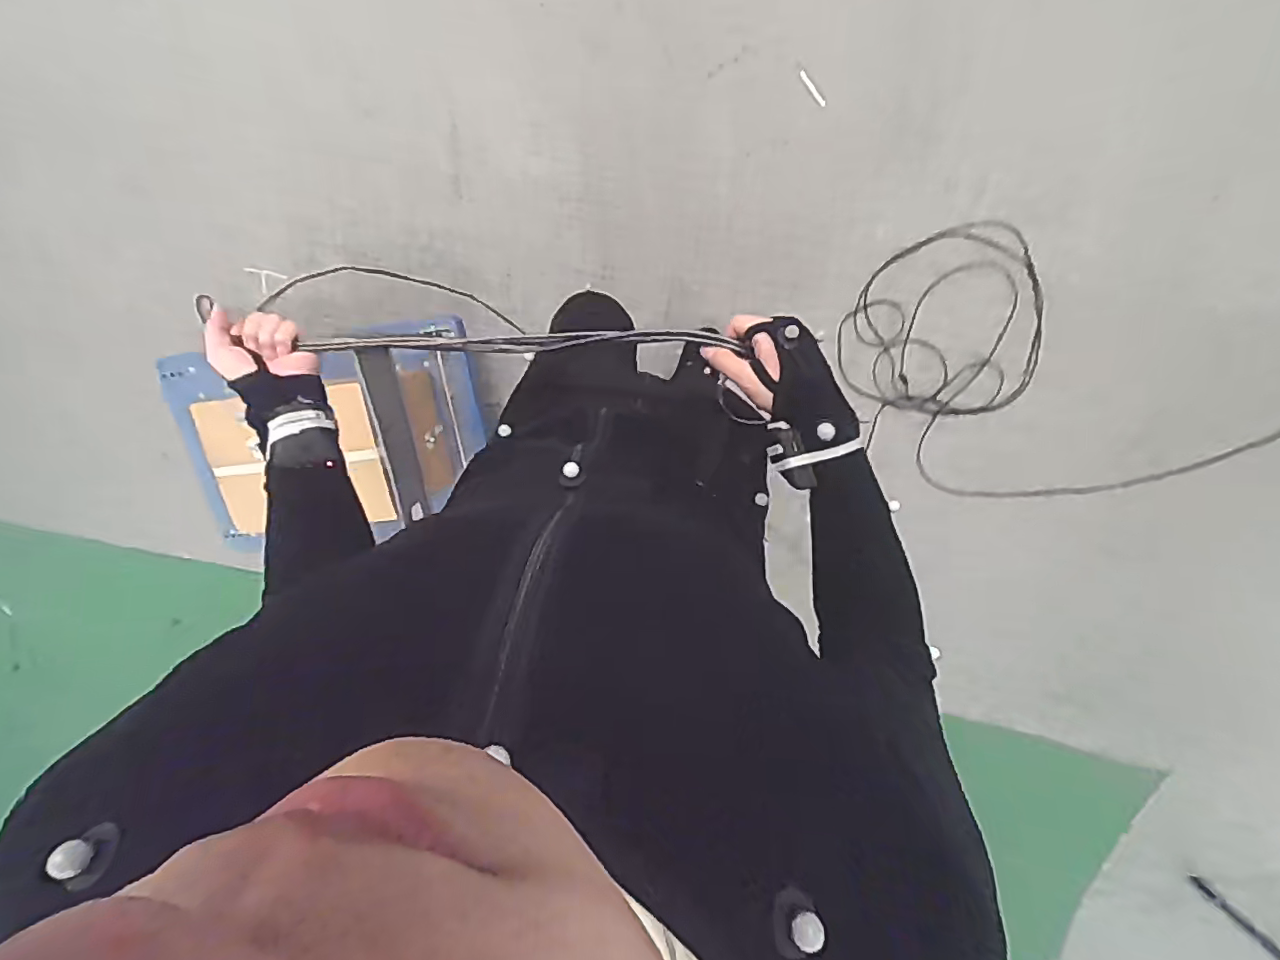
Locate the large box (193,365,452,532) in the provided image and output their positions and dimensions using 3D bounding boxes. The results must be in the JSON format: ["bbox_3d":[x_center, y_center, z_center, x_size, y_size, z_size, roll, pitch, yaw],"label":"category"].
[{"bbox_3d":[-0.740,-0.090,1.326,0.408,0.320,0.320,-5,106,7],"label":"large box"}]
